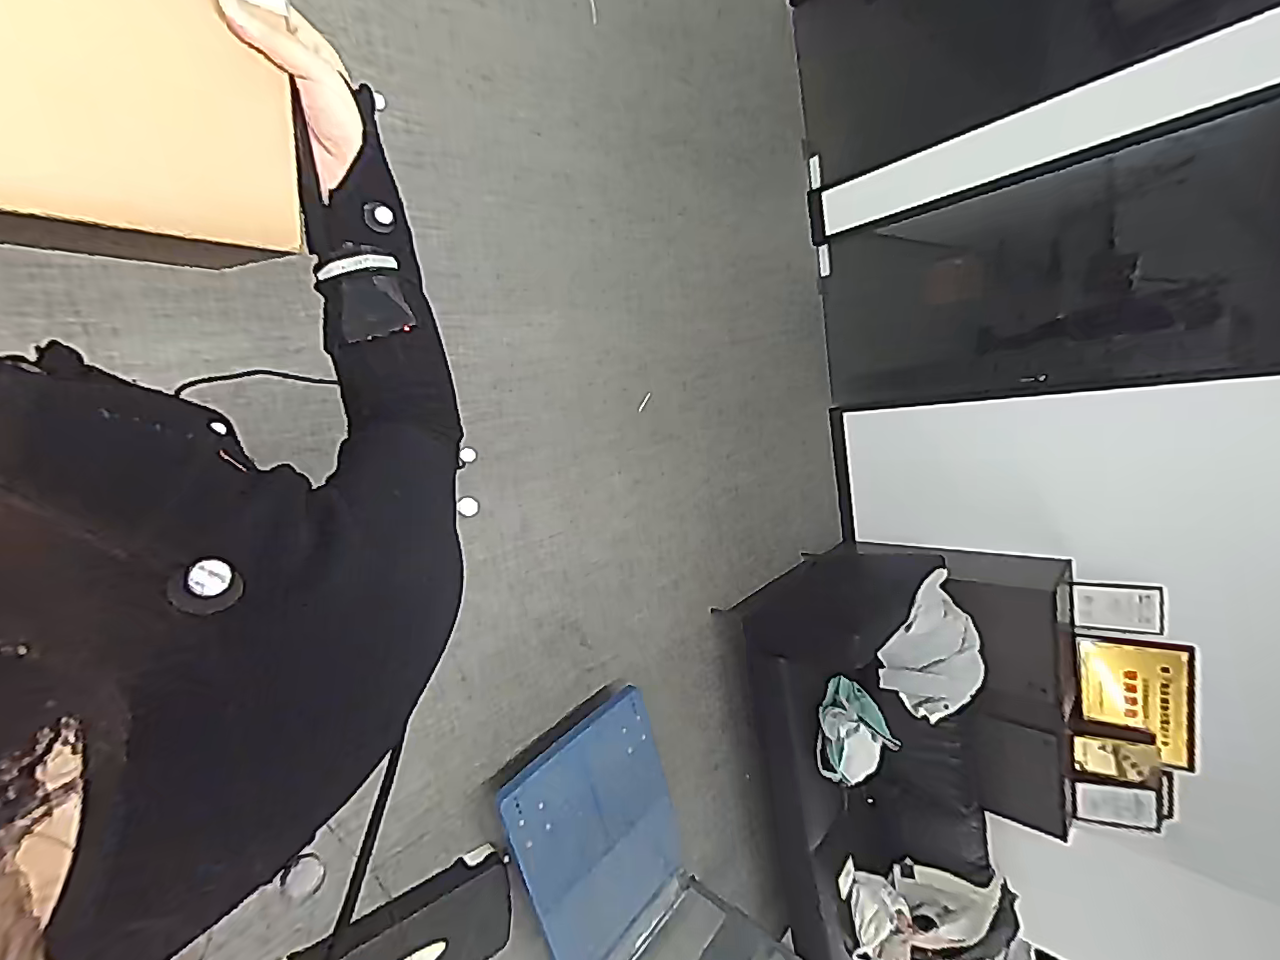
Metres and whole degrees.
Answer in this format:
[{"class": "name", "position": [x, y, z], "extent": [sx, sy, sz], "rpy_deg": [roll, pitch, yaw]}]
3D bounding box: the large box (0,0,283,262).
[{"class": "large box", "position": [-0.500, -0.323, 0.332], "extent": [0.408, 0.320, 0.320], "rpy_deg": [-10, 110, -43]}]
